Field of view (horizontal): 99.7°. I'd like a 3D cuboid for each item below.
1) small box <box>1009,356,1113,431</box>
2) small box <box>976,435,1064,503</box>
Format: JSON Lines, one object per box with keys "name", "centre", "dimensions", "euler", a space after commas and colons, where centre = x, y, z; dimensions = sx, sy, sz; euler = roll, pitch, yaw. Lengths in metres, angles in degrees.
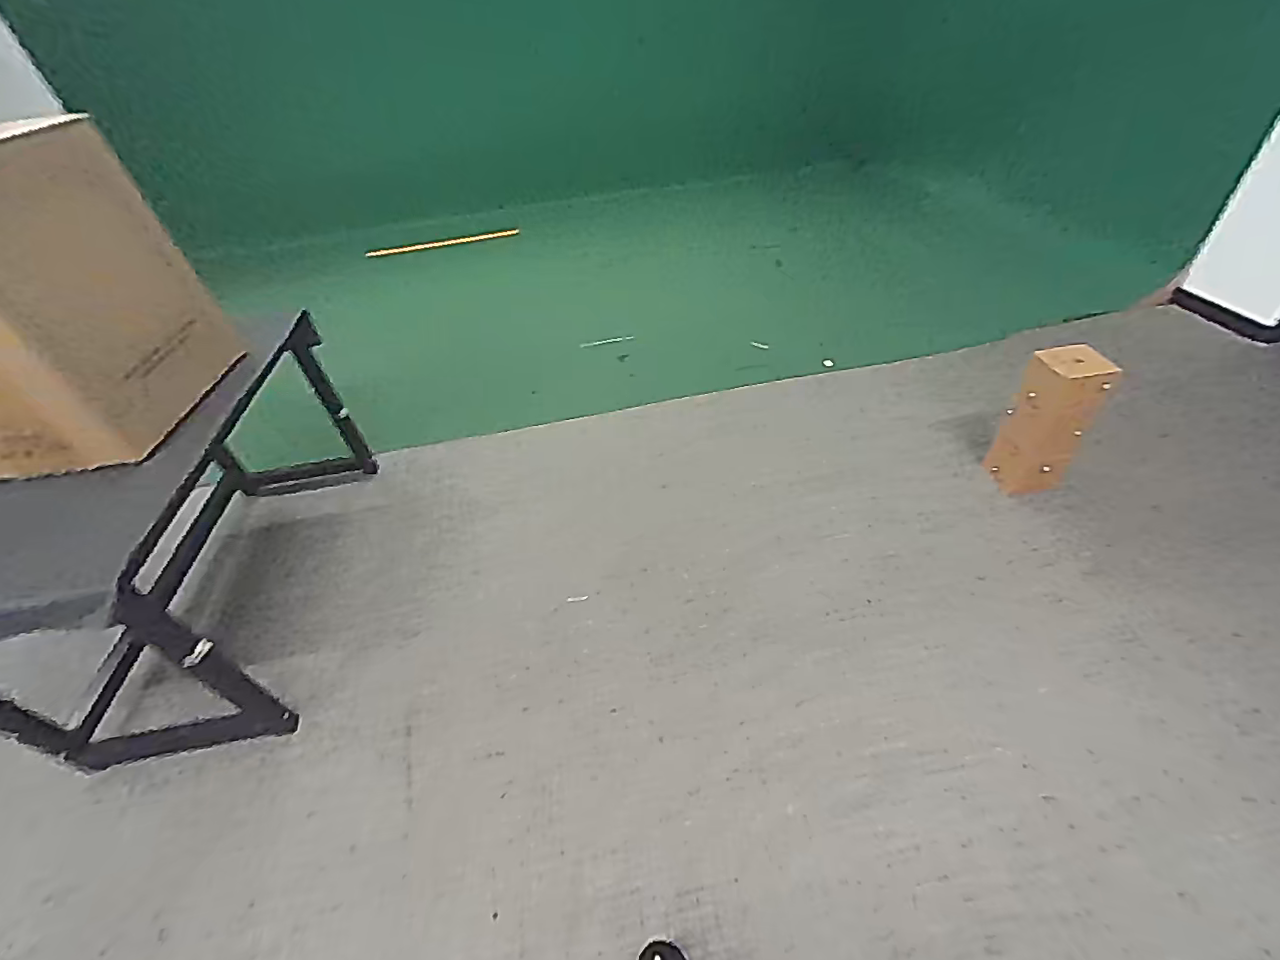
{"name": "small box", "centre": [1.352, -0.279, 1.752], "dimensions": [0.179, 0.176, 0.168], "euler": [-8, 42, -2]}
{"name": "small box", "centre": [1.377, -0.037, 1.973], "dimensions": [0.179, 0.176, 0.168], "euler": [-11, 43, -4]}
